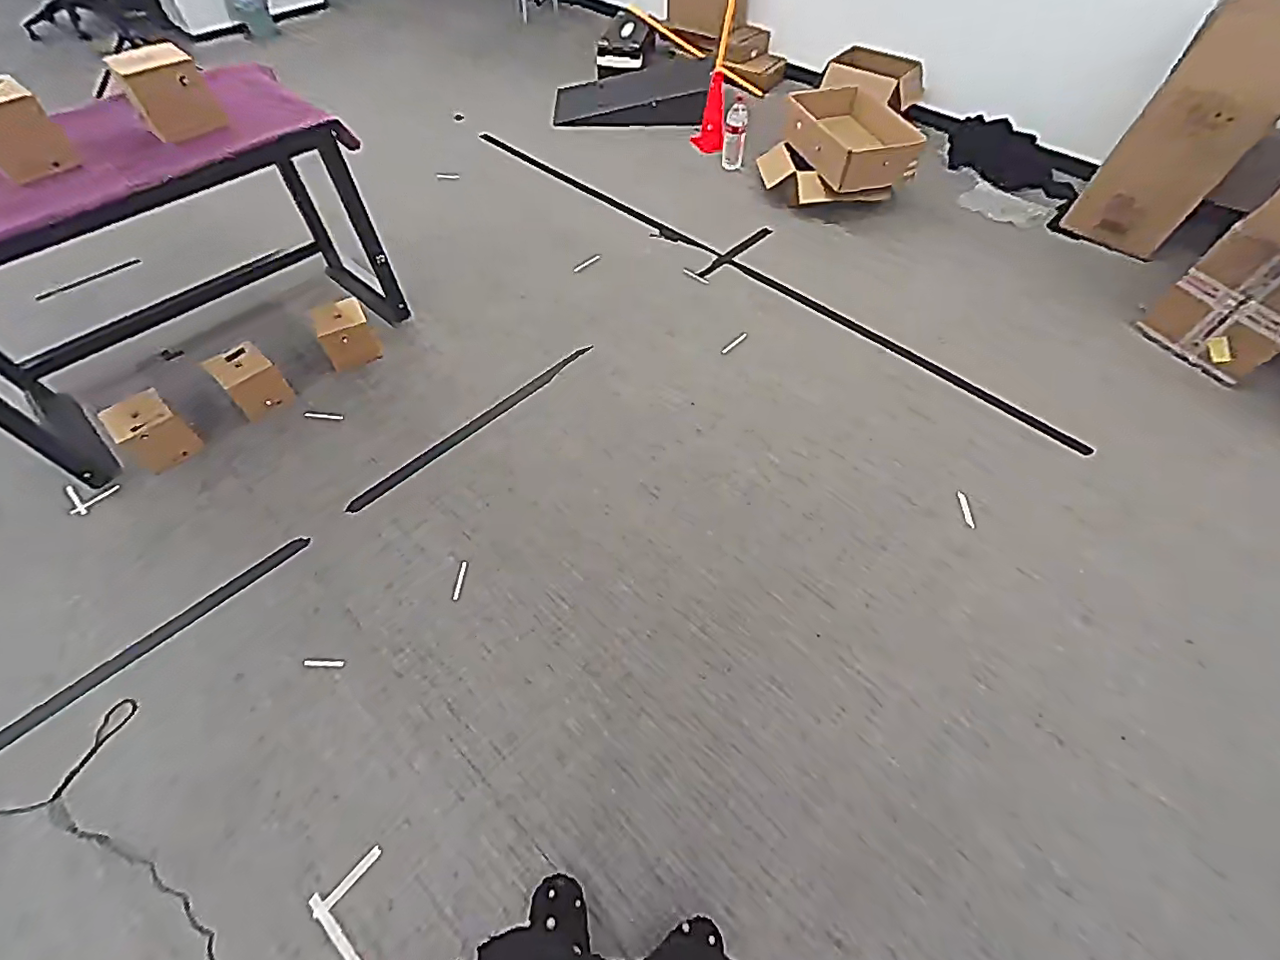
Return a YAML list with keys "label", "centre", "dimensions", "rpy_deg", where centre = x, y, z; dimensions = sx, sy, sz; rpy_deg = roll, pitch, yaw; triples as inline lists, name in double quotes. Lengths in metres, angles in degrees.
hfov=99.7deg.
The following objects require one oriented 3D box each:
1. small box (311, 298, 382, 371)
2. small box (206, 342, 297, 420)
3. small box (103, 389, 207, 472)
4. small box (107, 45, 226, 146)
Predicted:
- label: "small box"
  centre: [-1.099, -0.546, 2.038]
  dimensions: [0.179, 0.176, 0.168]
  rpy_deg: [-26, 60, -16]
- label: "small box"
  centre: [-1.355, -0.342, 1.895]
  dimensions: [0.179, 0.176, 0.168]
  rpy_deg: [38, 64, 21]
- label: "small box"
  centre: [-1.579, -0.157, 1.769]
  dimensions: [0.179, 0.176, 0.168]
  rpy_deg: [39, 64, 24]
- label: "small box"
  centre: [-1.309, -1.073, 1.511]
  dimensions: [0.179, 0.176, 0.168]
  rpy_deg: [-40, 64, -23]
